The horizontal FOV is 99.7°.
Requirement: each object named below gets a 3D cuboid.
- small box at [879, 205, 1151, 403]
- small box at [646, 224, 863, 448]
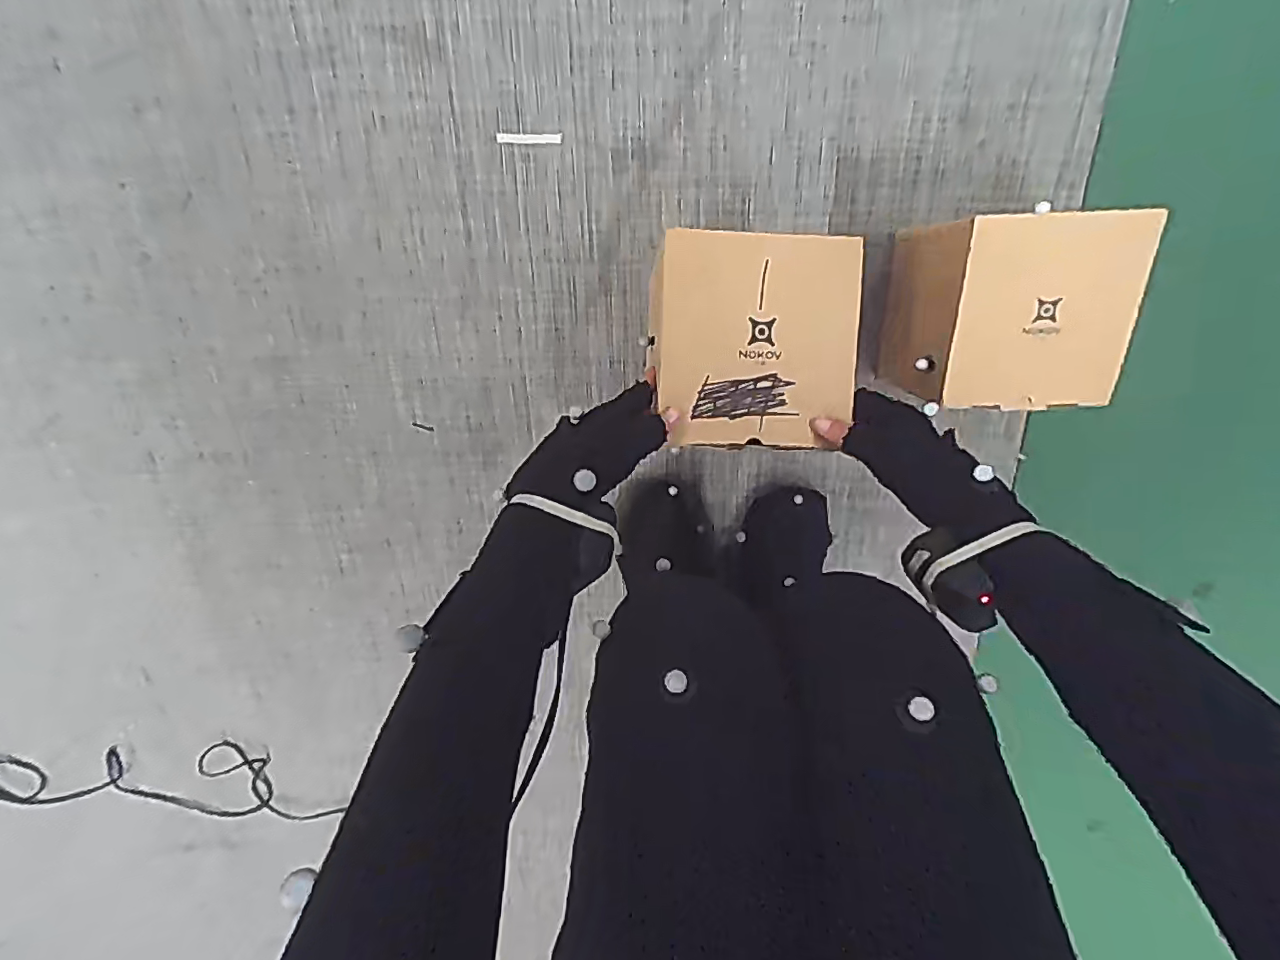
[{"bbox_3d":[0.376,-0.187,0.584,0.168,0.176,0.179,-1,111,3],"label":"small box"},{"bbox_3d":[0.095,-0.124,0.526,0.168,0.176,0.179,2,95,-3],"label":"small box"}]
